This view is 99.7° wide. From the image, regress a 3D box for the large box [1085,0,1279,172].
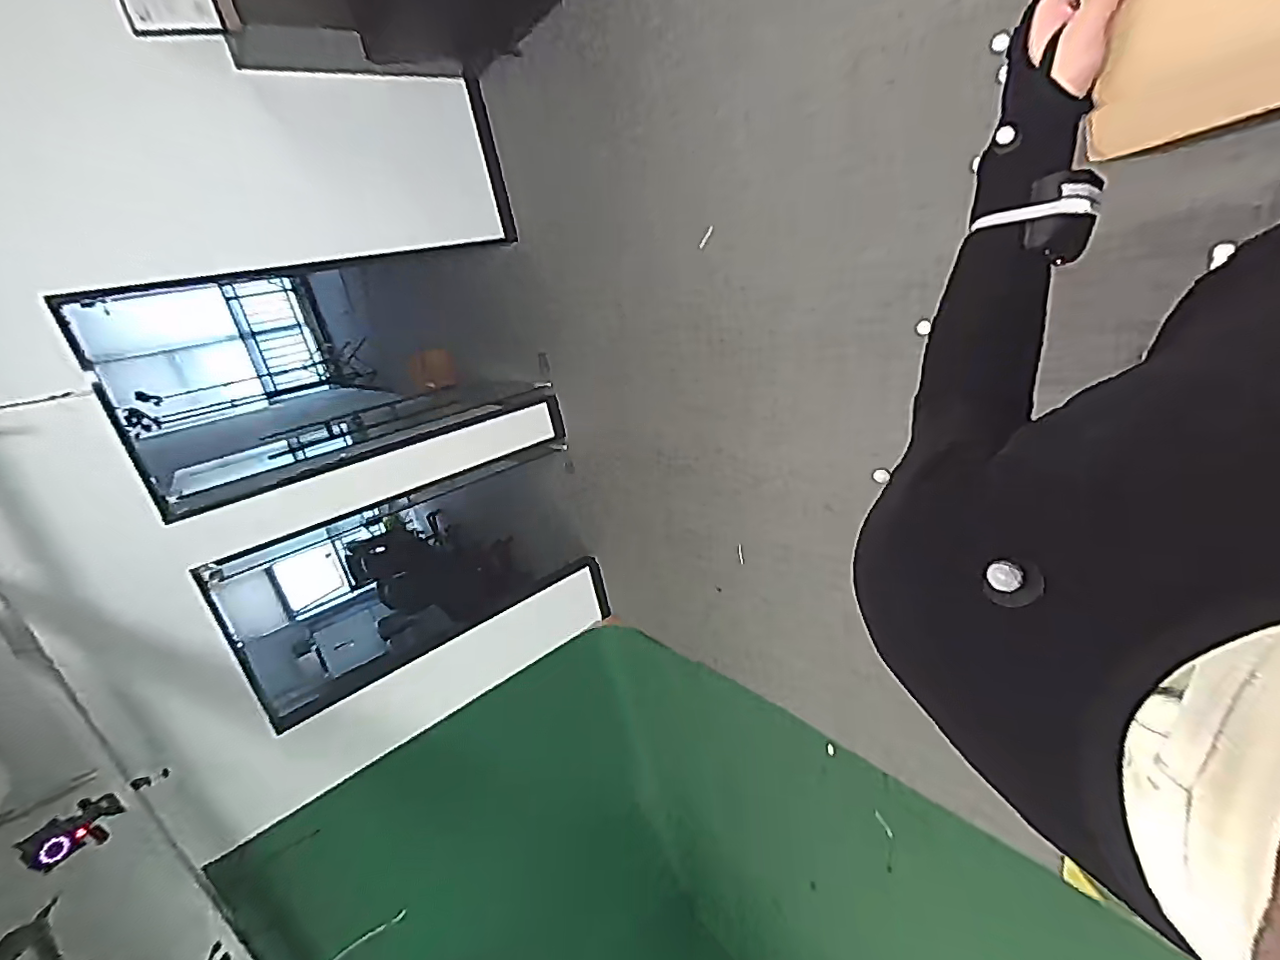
[{"bbox_3d":[0.588,-0.453,0.363,0.408,0.320,0.320,4,115,52],"label":"large box"}]
